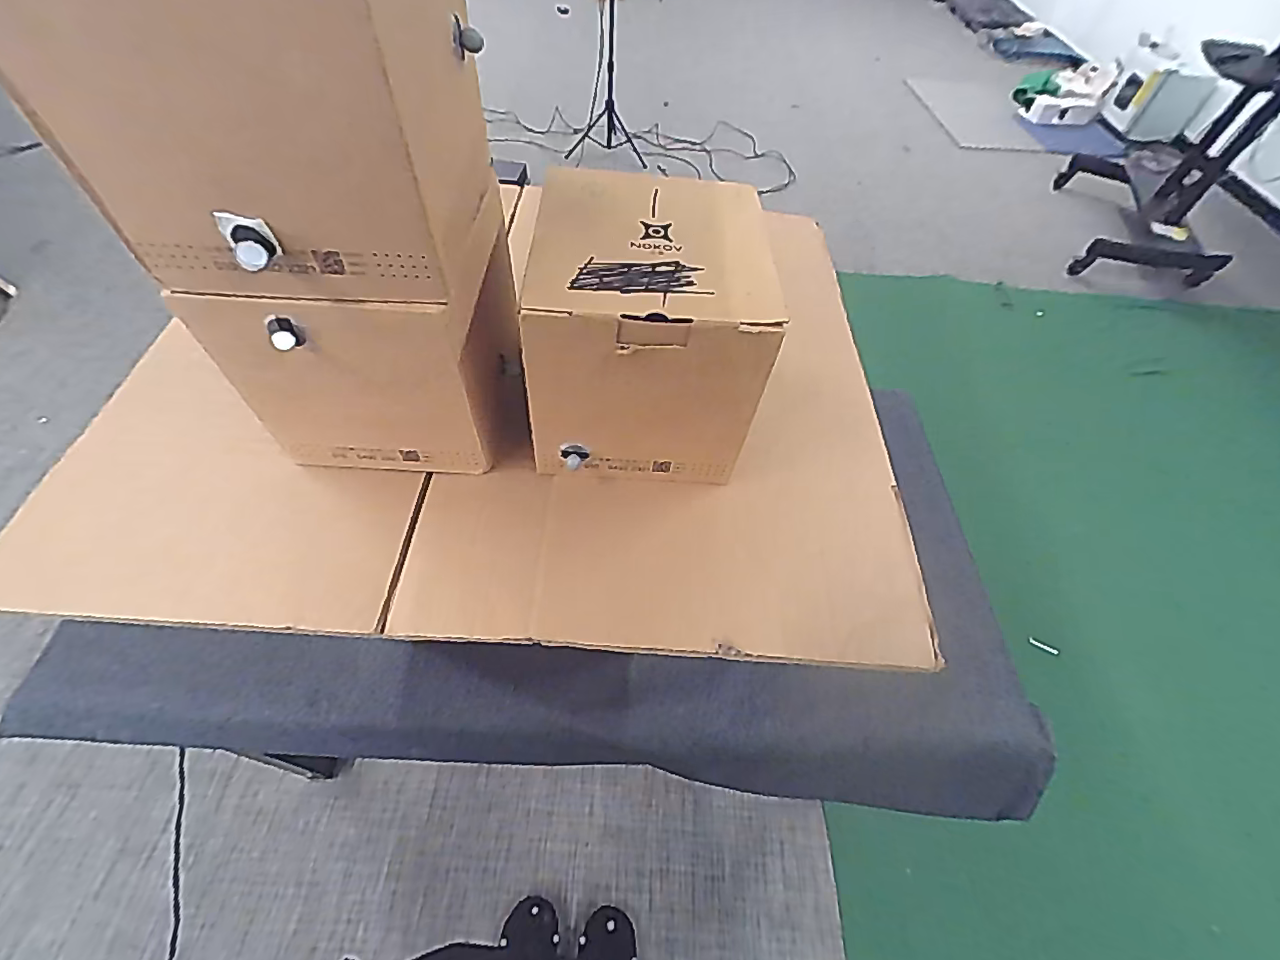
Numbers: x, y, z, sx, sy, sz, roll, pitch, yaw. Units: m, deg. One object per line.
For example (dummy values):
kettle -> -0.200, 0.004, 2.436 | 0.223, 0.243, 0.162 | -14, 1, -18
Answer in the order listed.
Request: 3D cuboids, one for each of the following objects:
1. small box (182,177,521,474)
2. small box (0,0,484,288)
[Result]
small box -> -0.199, -0.127, 0.443 | 0.168, 0.176, 0.179 | 3, 54, 0
small box -> -0.189, -0.232, 0.299 | 0.168, 0.176, 0.179 | 0, 56, -3
